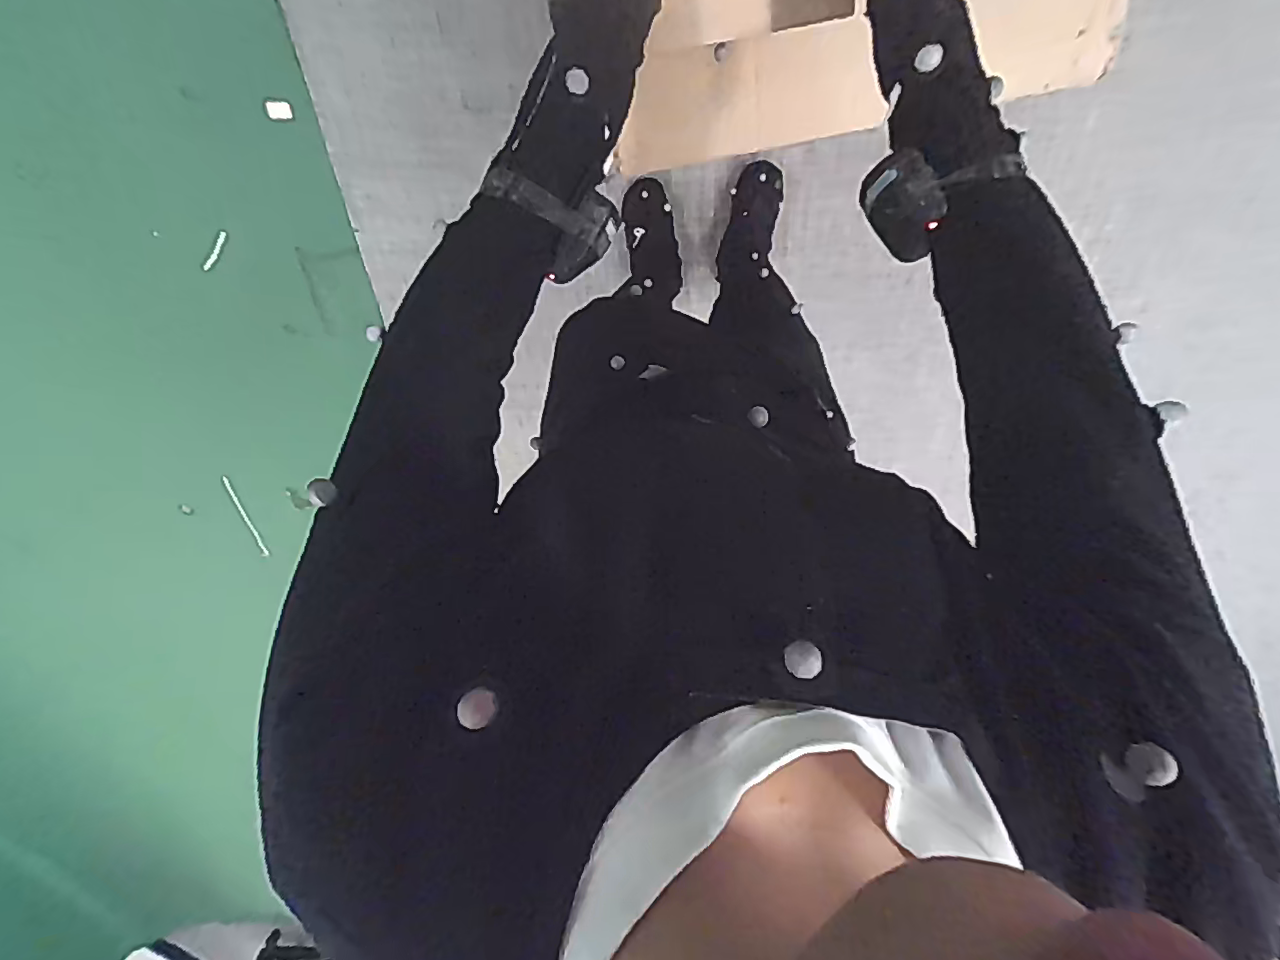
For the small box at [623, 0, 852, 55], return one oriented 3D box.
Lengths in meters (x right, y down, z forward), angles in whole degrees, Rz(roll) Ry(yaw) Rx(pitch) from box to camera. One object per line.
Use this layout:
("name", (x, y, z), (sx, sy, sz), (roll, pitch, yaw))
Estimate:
("small box", (0.068, -0.463, 0.443), (0.179, 0.176, 0.168), (-7, 129, 5))
